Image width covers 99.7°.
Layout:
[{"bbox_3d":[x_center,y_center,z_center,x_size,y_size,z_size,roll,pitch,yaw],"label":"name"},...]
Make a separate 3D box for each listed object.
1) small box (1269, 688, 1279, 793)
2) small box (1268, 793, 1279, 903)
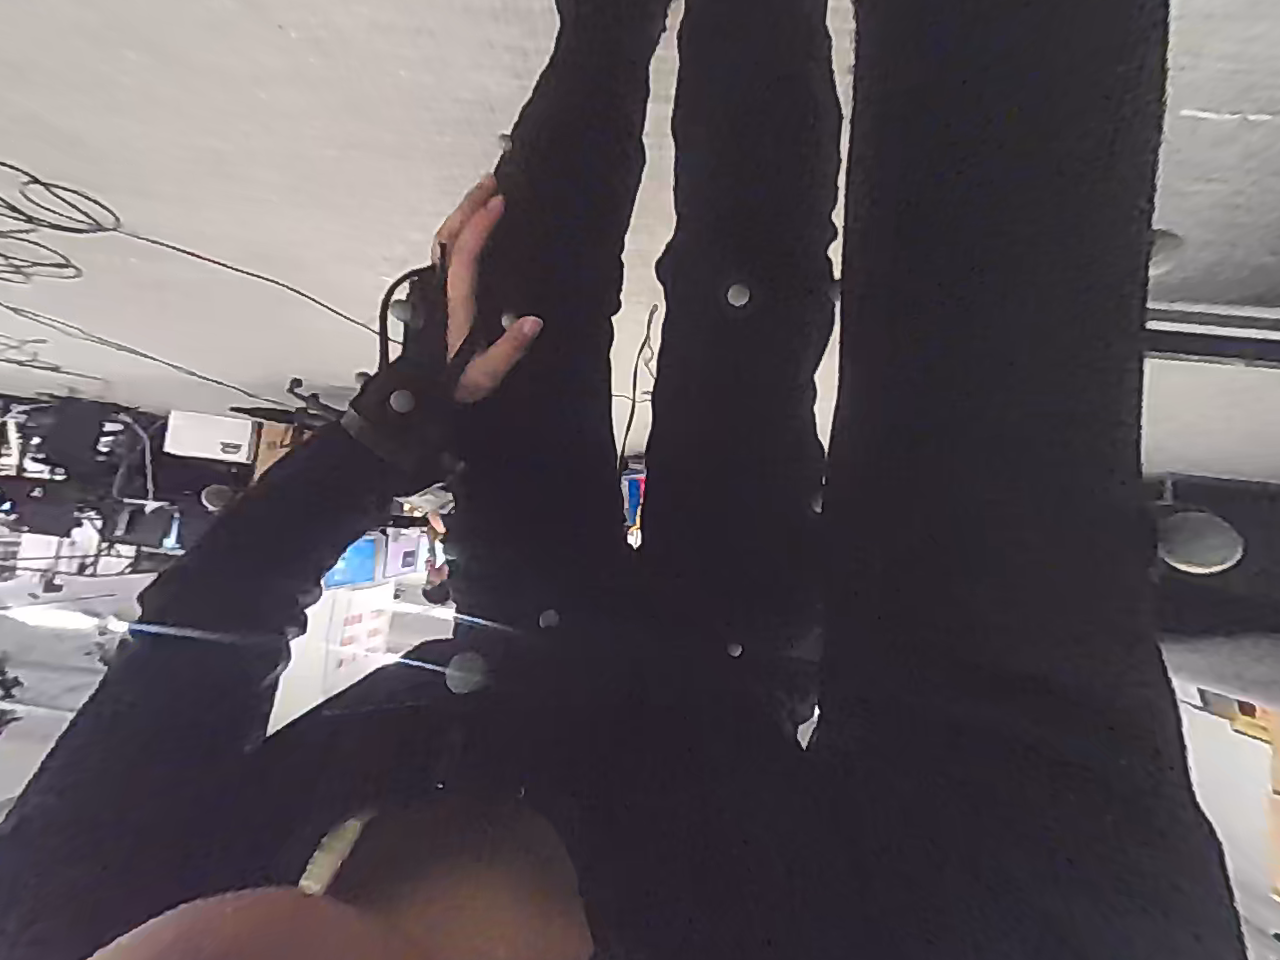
[{"bbox_3d":[1.102,0.416,0.795,0.179,0.176,0.168,6,175,5],"label":"small box"},{"bbox_3d":[1.086,0.578,0.785,0.179,0.176,0.168,5,175,2],"label":"small box"}]
